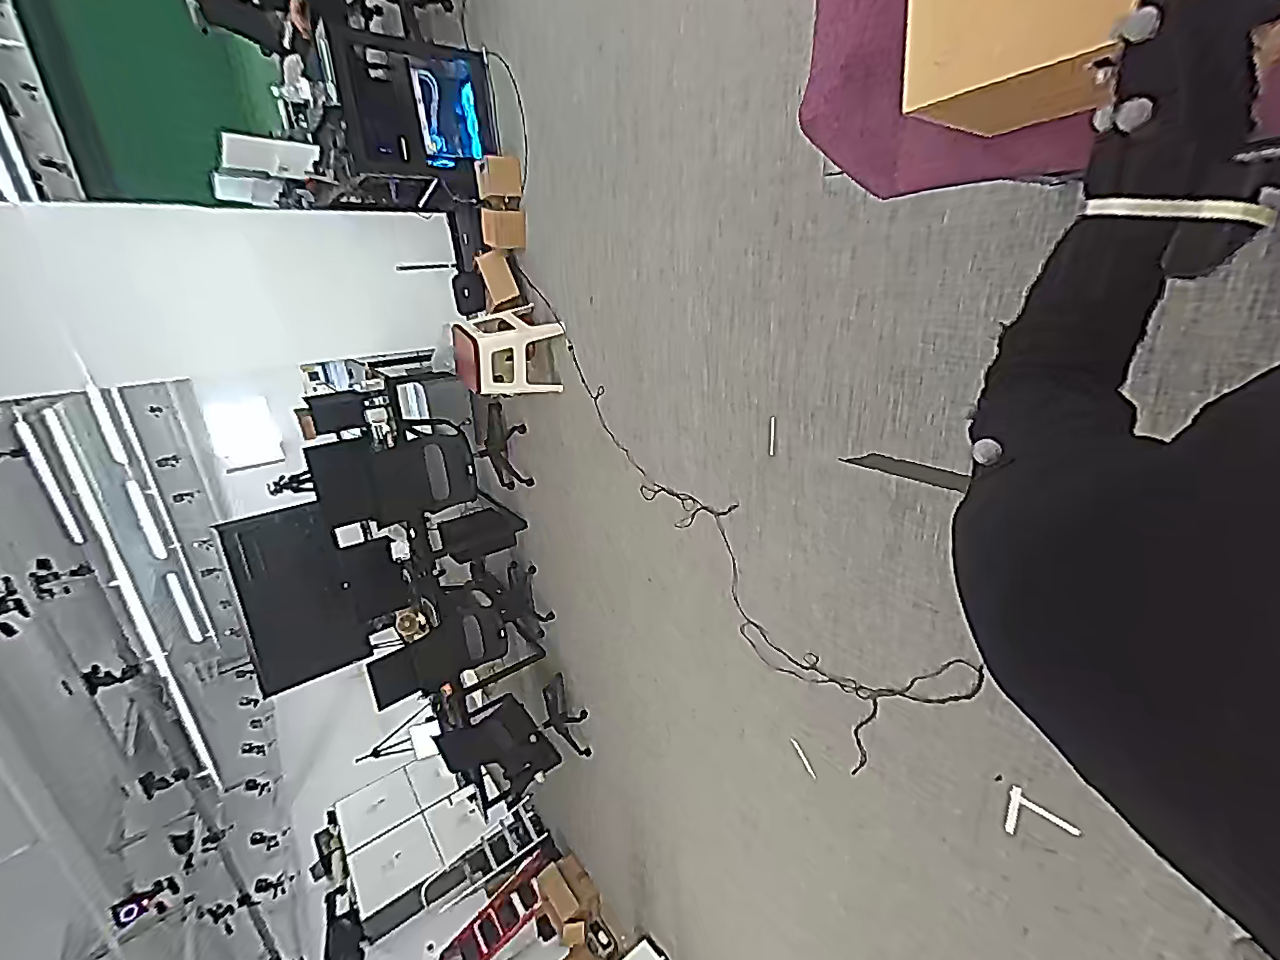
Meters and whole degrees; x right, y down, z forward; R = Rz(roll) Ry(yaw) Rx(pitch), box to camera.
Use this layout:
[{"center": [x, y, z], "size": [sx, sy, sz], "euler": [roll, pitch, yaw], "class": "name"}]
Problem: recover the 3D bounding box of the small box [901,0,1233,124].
[{"center": [0.337, -0.406, 0.427], "size": [0.179, 0.176, 0.168], "euler": [17, 118, 51], "class": "small box"}]
